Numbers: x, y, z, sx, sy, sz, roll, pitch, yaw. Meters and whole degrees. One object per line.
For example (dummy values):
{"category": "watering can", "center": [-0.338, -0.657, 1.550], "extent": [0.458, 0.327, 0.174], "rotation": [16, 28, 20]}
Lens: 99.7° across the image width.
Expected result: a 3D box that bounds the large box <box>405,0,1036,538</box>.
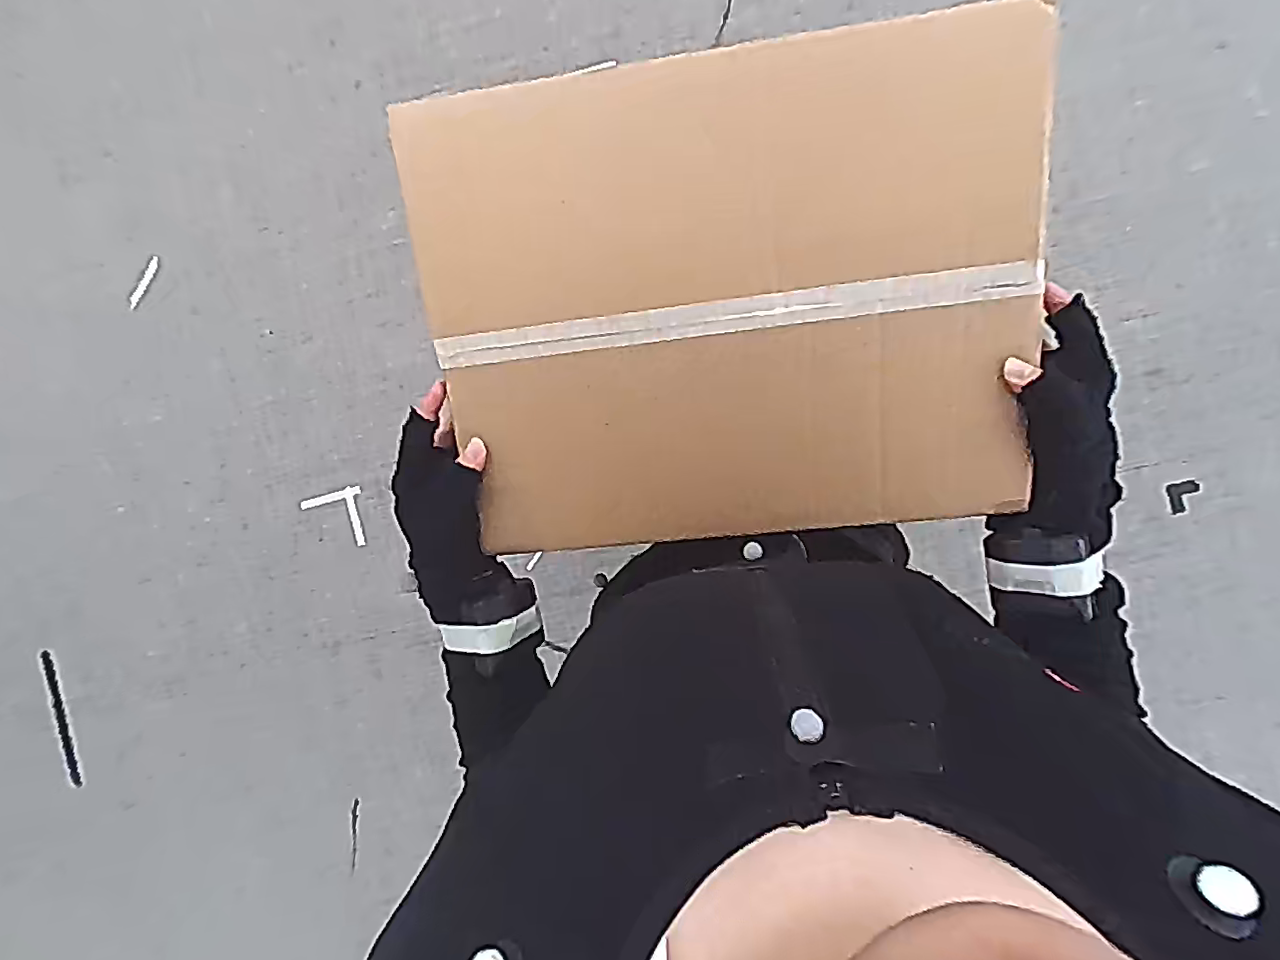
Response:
{"category": "large box", "center": [0.066, -0.158, 0.518], "extent": [0.408, 0.320, 0.320], "rotation": [-5, 106, 6]}
